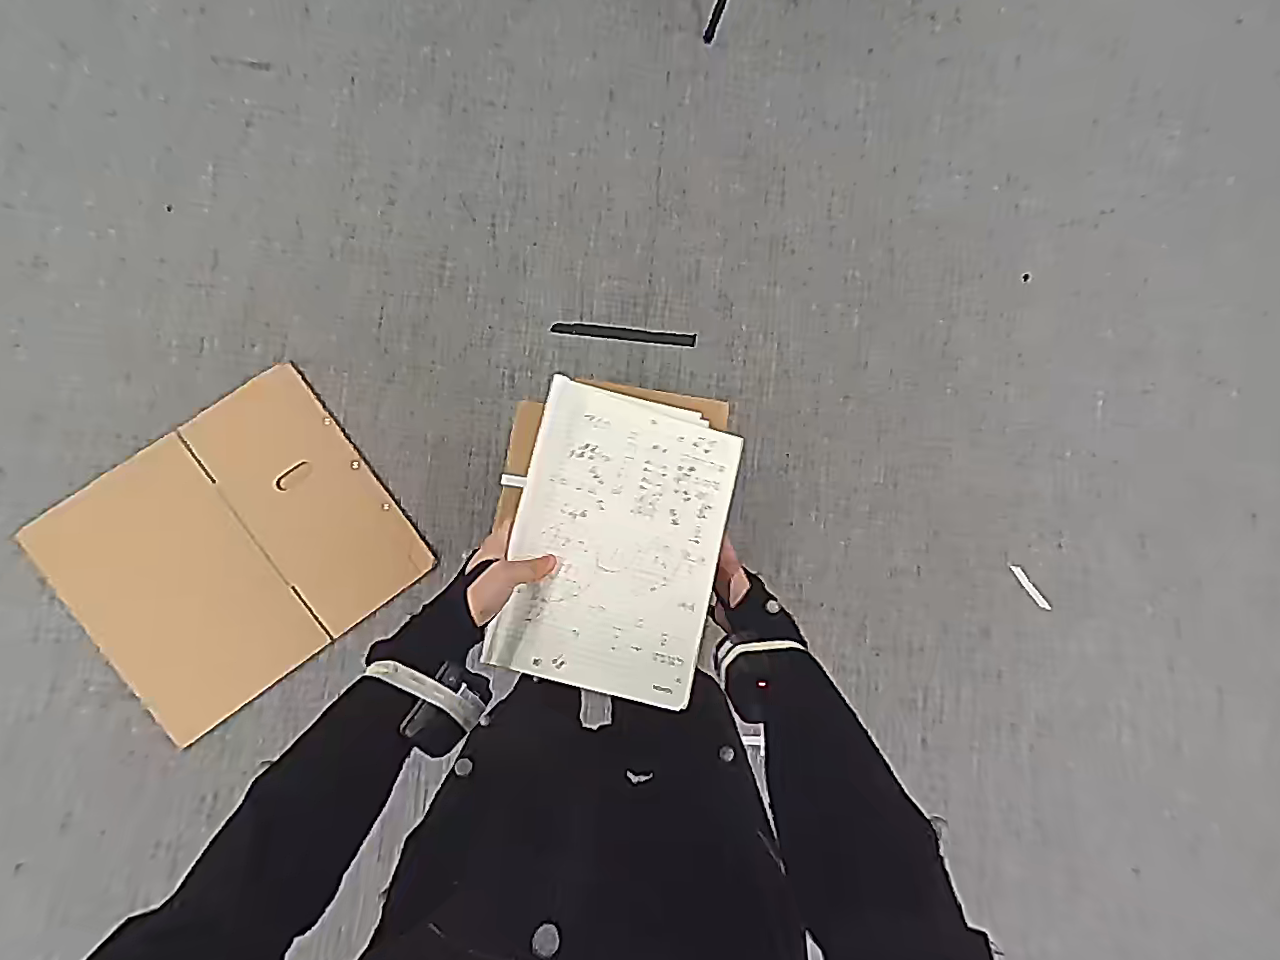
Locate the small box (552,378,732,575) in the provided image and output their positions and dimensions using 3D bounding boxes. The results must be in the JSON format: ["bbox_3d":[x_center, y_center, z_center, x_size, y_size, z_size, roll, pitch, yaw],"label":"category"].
[{"bbox_3d":[-0.003,0.008,0.616,0.168,0.176,0.179,9,78,-5],"label":"small box"}]
